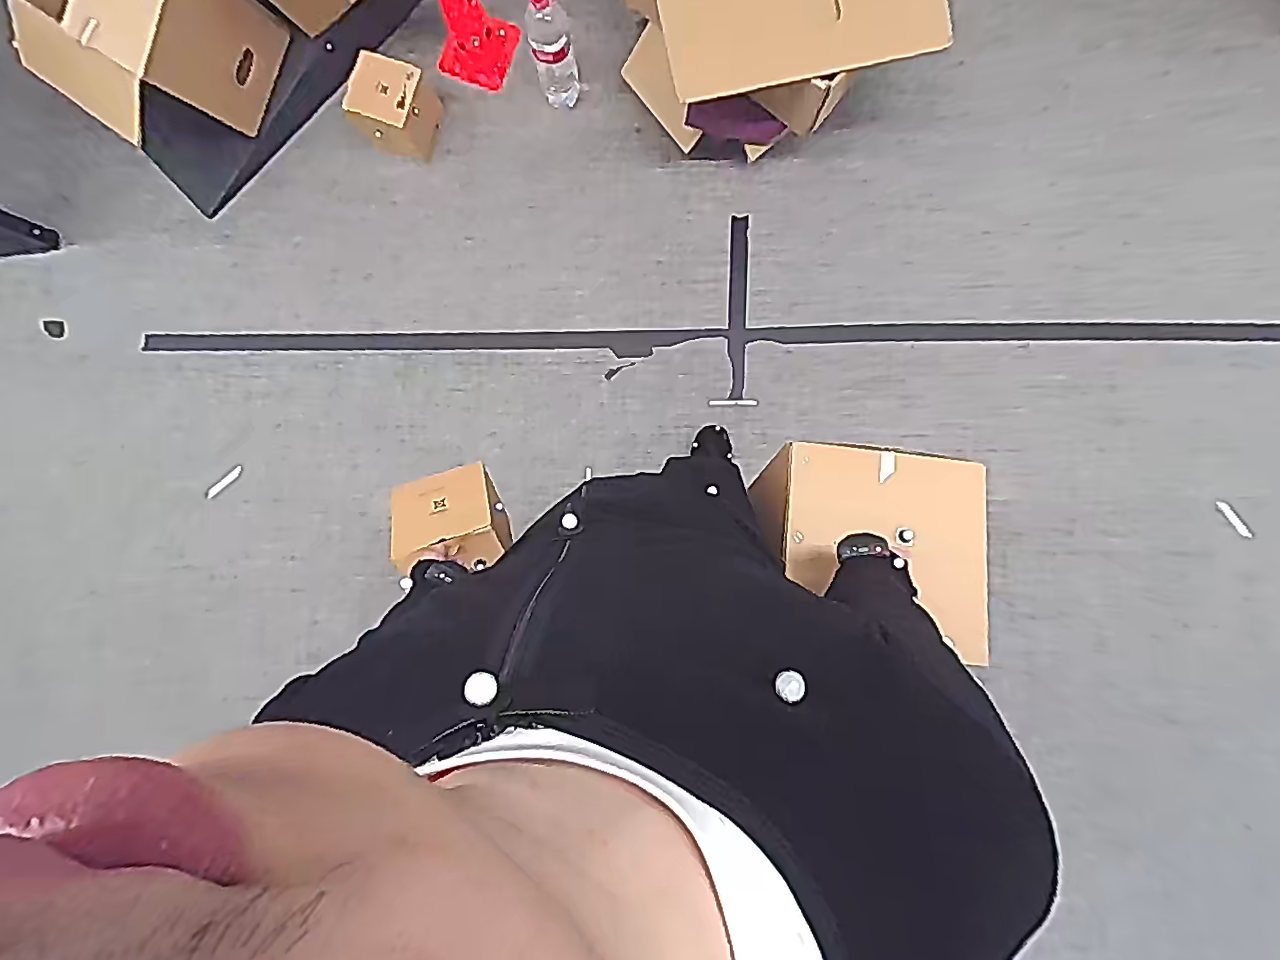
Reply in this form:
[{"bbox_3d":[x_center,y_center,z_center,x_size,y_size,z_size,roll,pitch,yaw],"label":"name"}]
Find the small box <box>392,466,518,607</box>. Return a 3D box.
[{"bbox_3d":[-0.331,0.109,0.983,0.168,0.179,0.176,-18,134,-7],"label":"small box"}]
